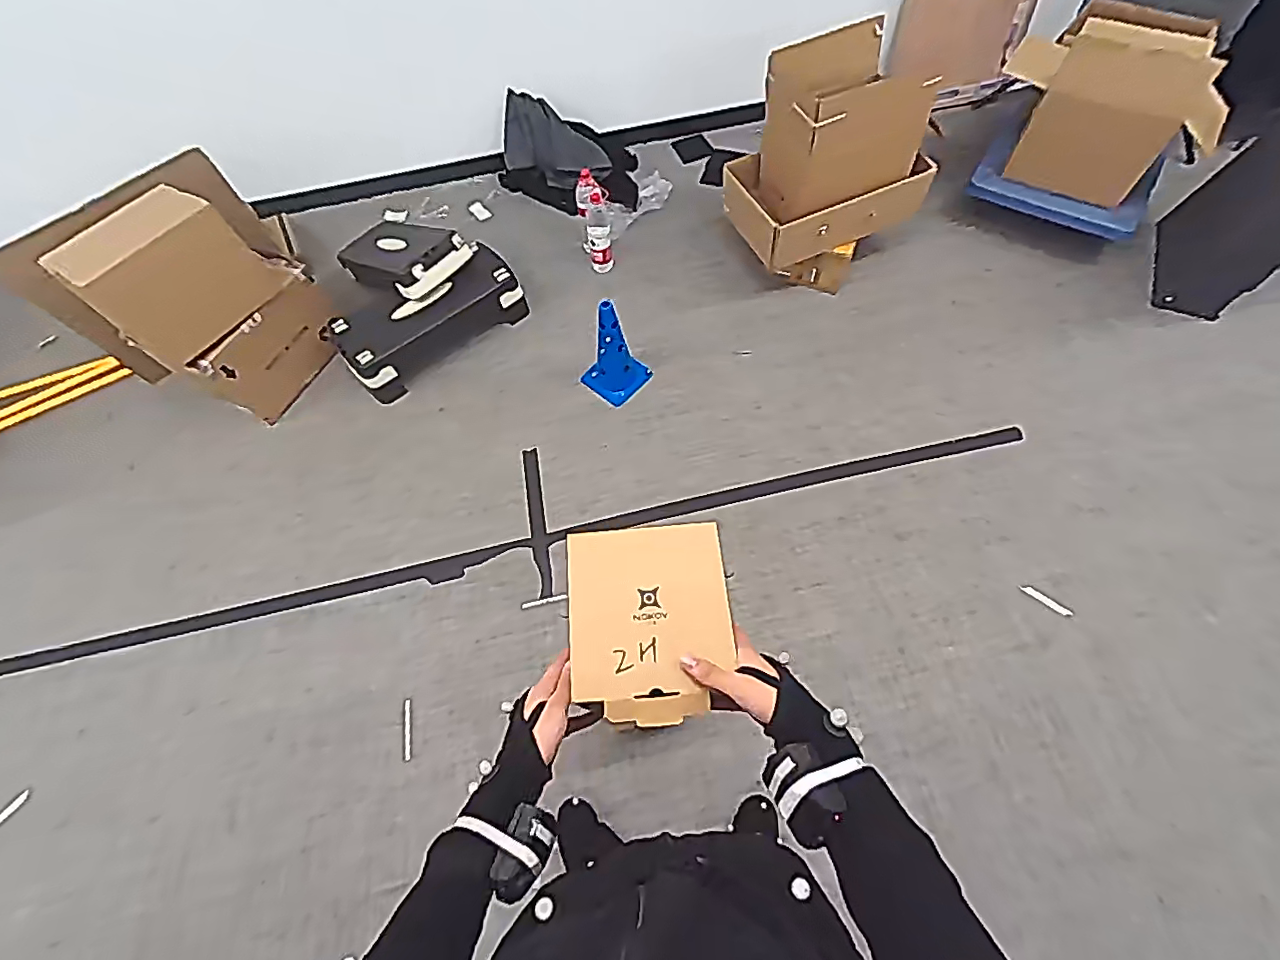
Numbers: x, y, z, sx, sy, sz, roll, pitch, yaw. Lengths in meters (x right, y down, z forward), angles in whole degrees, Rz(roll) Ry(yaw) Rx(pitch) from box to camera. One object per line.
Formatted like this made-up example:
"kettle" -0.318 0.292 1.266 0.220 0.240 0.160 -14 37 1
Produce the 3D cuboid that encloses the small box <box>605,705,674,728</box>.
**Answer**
"small box" -0.004 0.543 1.406 0.168 0.176 0.179 -8 62 0

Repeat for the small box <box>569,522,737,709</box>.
"small box" 0.011 0.163 0.628 0.168 0.176 0.179 -4 64 0
